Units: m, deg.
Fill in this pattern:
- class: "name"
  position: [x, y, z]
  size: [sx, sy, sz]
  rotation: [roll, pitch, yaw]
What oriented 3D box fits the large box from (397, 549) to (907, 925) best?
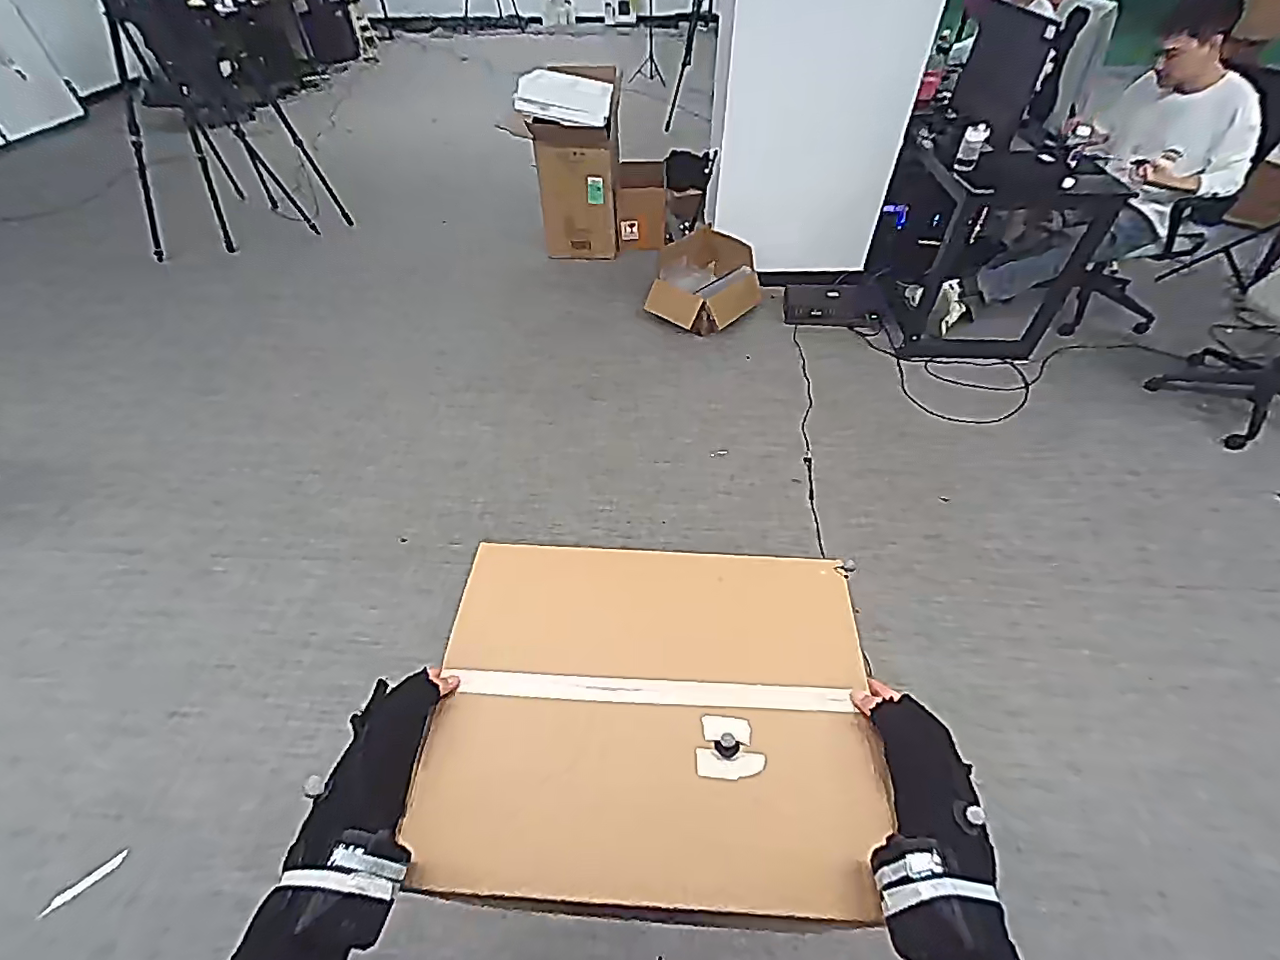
- class: "large box"
  position: [0.011, 0.299, 0.623]
  size: [0.408, 0.320, 0.320]
  rotation: [3, 49, 2]
